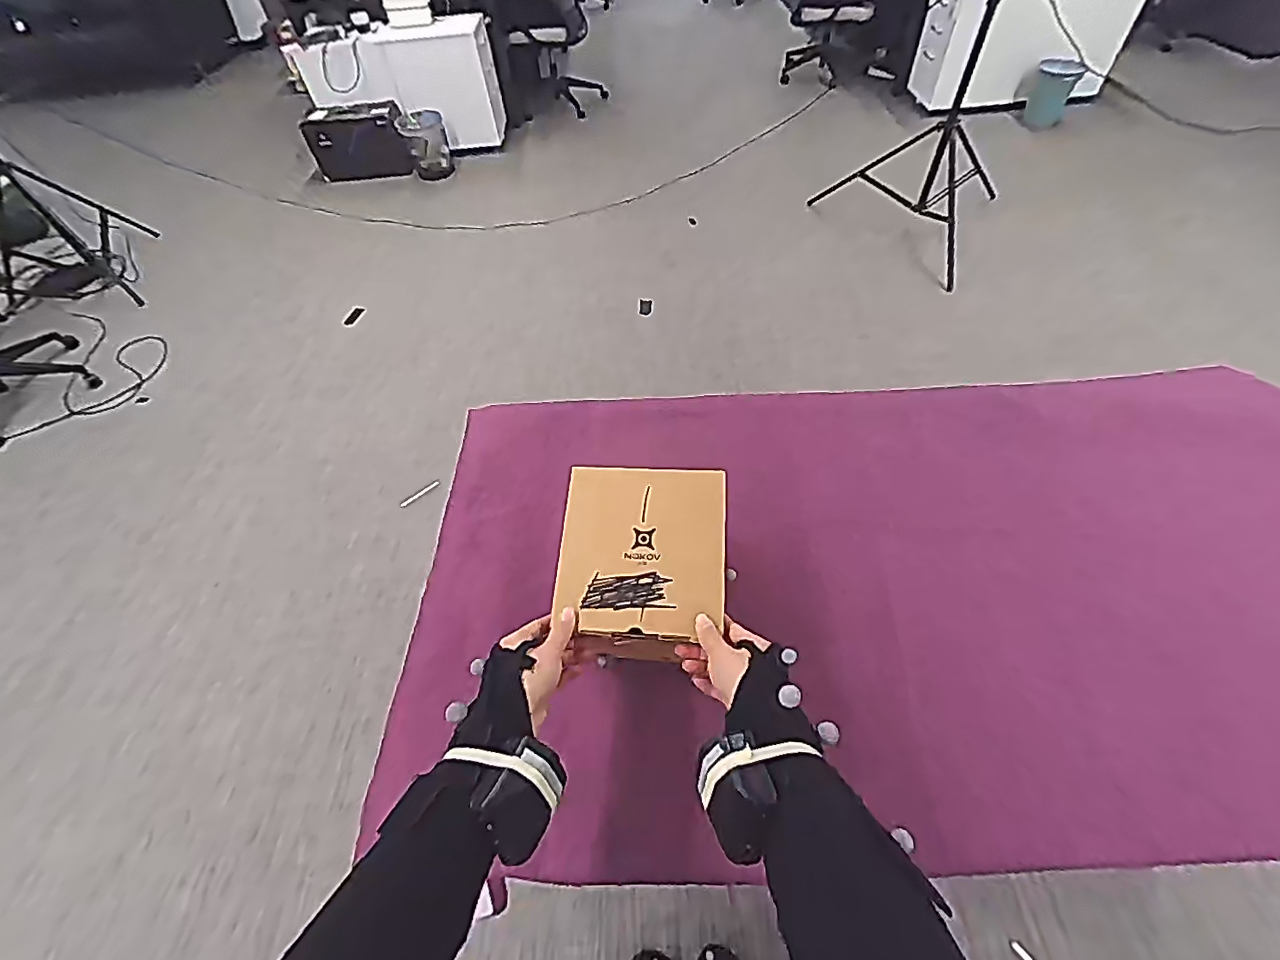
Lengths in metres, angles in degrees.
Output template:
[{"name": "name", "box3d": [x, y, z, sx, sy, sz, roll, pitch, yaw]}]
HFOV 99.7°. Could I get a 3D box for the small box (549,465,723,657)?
[{"name": "small box", "box3d": [0.008, 0.098, 0.612, 0.168, 0.176, 0.179, 2, 64, 6]}]
